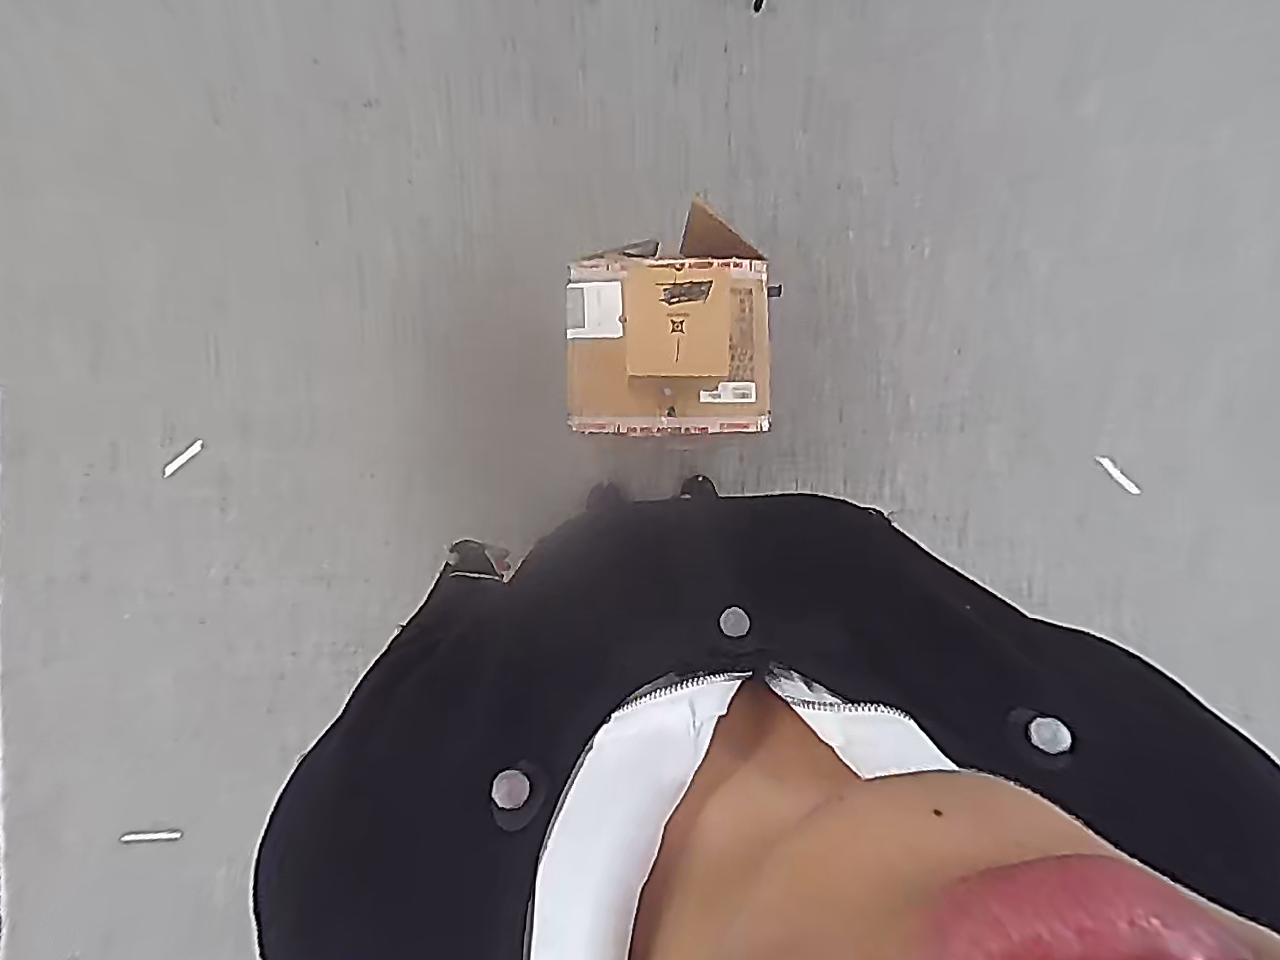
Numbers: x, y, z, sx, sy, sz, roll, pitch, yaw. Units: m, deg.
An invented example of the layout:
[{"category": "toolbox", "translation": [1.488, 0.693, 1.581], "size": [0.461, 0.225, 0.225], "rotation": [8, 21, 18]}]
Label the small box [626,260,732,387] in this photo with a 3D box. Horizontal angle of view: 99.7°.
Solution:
[{"category": "small box", "translation": [0.061, -0.263, 0.941], "size": [0.168, 0.176, 0.179], "rotation": [0, 93, -2]}]
